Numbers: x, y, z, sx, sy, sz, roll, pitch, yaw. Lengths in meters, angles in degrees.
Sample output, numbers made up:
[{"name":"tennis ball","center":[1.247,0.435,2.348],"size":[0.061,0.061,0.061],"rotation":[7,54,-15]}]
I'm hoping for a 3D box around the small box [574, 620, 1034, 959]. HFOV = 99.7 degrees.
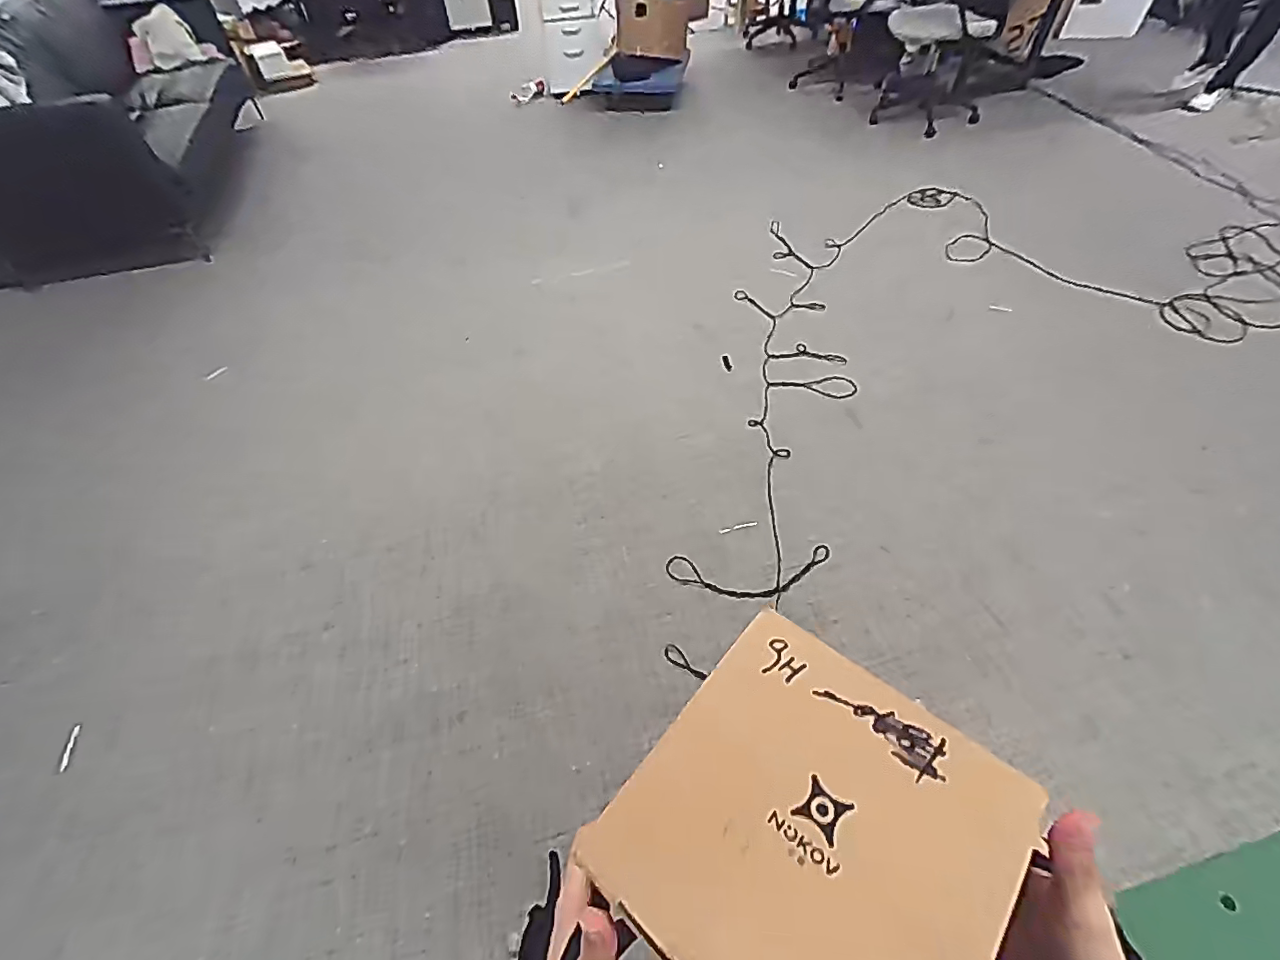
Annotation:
[{"name":"small box","center":[0.090,0.230,0.332],"size":[0.168,0.176,0.179],"rotation":[31,61,28]}]
